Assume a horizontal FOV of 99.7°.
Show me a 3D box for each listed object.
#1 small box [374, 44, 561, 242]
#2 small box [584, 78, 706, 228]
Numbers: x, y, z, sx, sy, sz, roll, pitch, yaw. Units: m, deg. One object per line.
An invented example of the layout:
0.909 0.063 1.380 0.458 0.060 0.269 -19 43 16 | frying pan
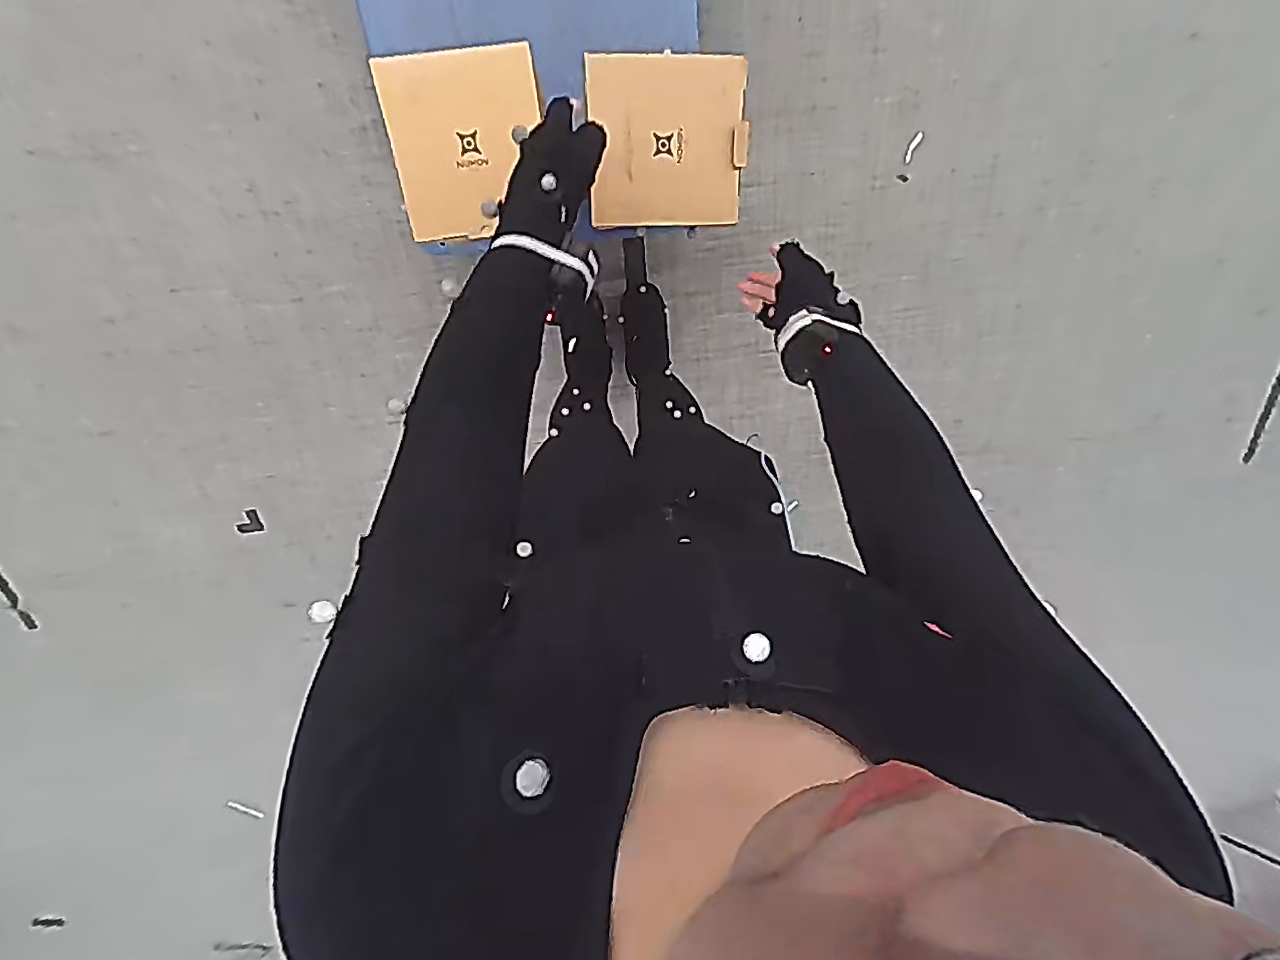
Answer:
-0.192 -0.395 0.661 0.168 0.176 0.179 -8 116 -2 | small box
0.003 -0.483 0.820 0.168 0.176 0.179 -5 117 -3 | small box
